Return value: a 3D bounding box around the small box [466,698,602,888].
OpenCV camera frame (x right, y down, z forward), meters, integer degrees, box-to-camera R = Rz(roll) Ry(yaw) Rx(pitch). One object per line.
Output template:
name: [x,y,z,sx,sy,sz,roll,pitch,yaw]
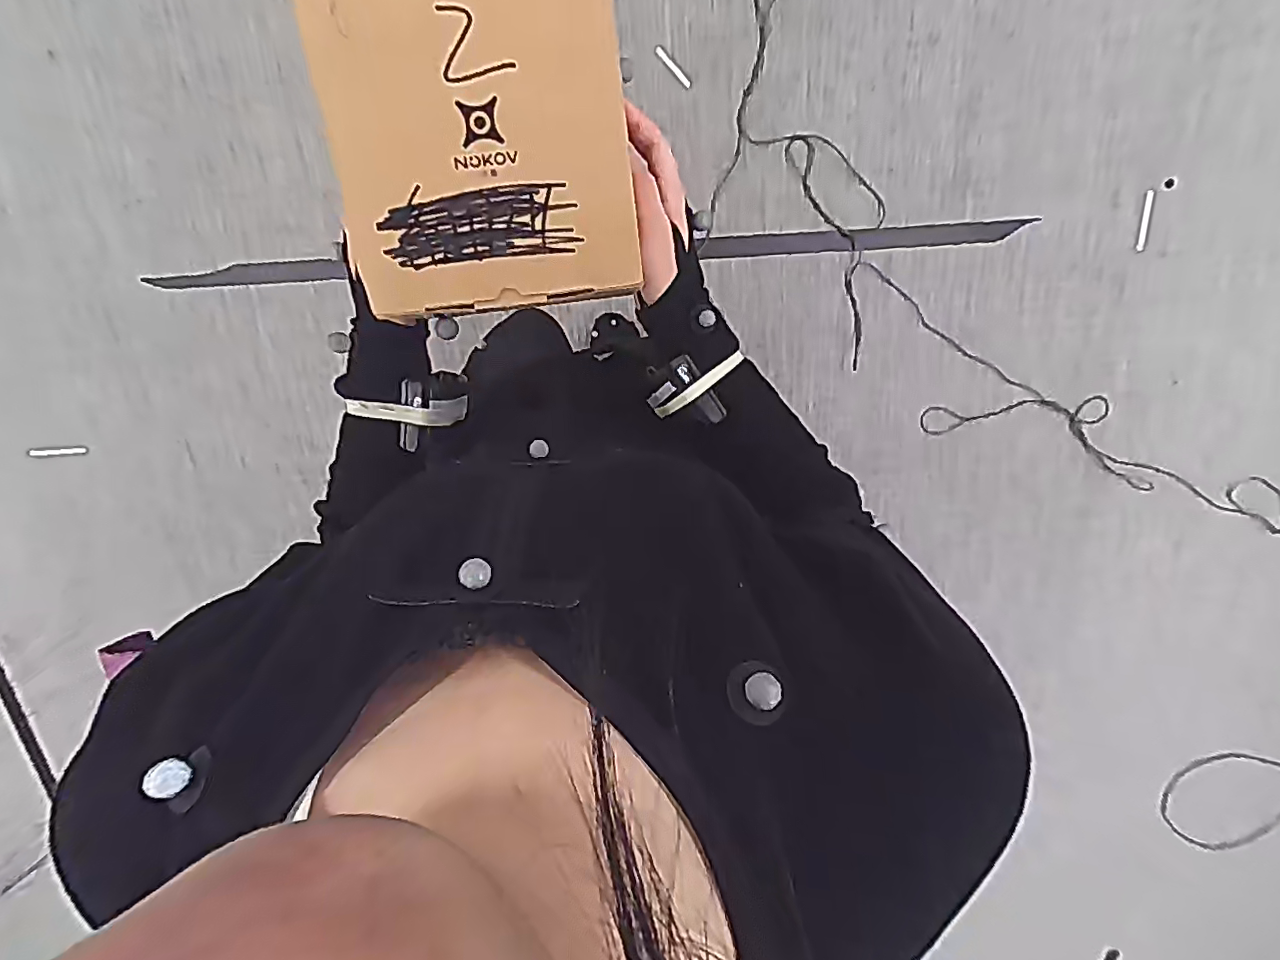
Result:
small box: [-0.141,0.446,0.788,0.168,0.176,0.179,-2,106,-2]
